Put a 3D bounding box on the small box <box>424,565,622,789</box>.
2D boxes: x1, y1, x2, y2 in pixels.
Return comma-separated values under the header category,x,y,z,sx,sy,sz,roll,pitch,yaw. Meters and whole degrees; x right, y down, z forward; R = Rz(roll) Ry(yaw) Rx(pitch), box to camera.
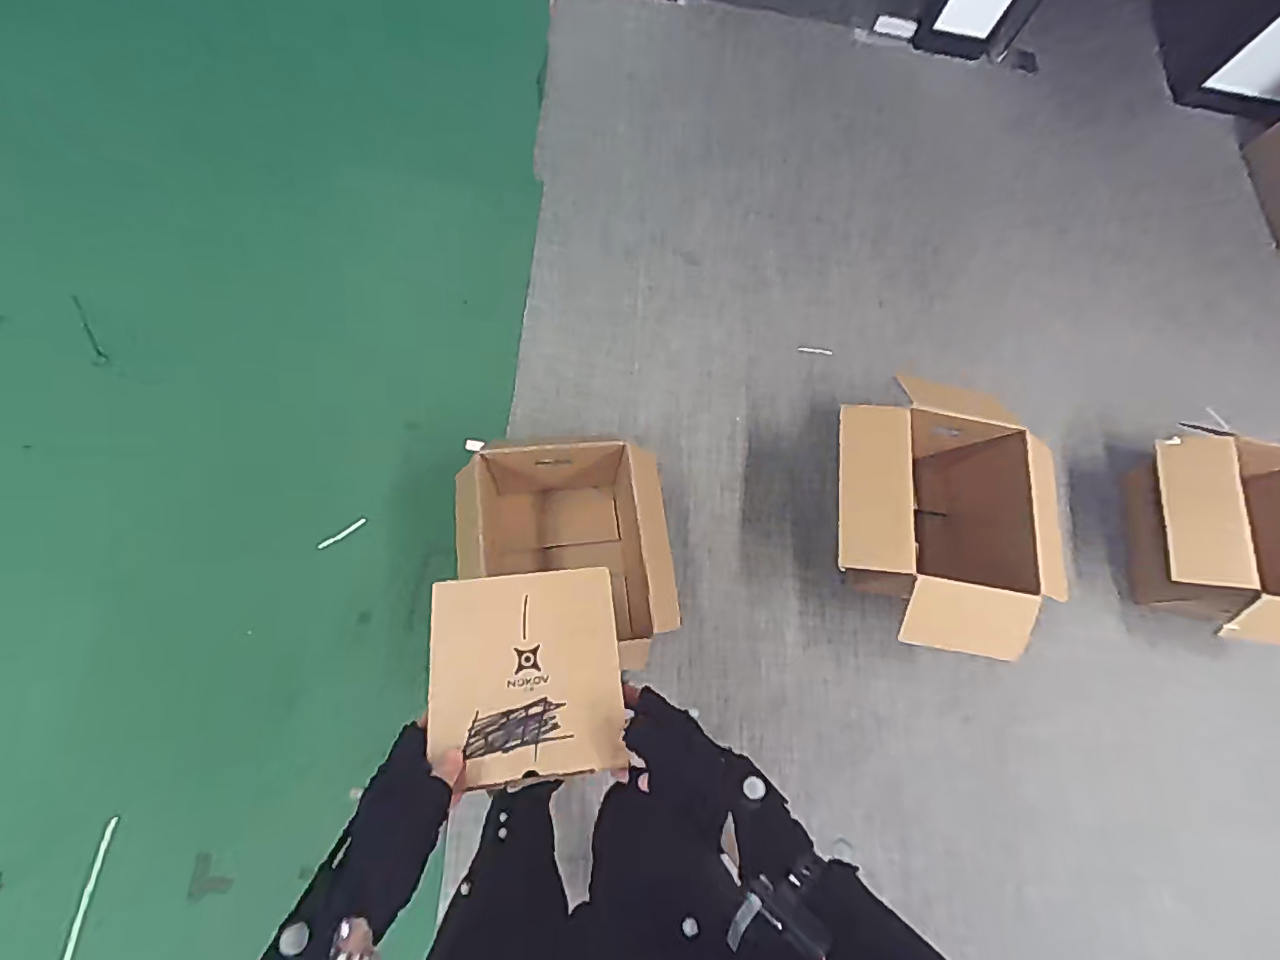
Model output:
category,x,y,z,sx,sy,sz,roll,pitch,yaw
small box,-0.109,0.198,0.550,0.168,0.176,0.179,-4,65,-8
